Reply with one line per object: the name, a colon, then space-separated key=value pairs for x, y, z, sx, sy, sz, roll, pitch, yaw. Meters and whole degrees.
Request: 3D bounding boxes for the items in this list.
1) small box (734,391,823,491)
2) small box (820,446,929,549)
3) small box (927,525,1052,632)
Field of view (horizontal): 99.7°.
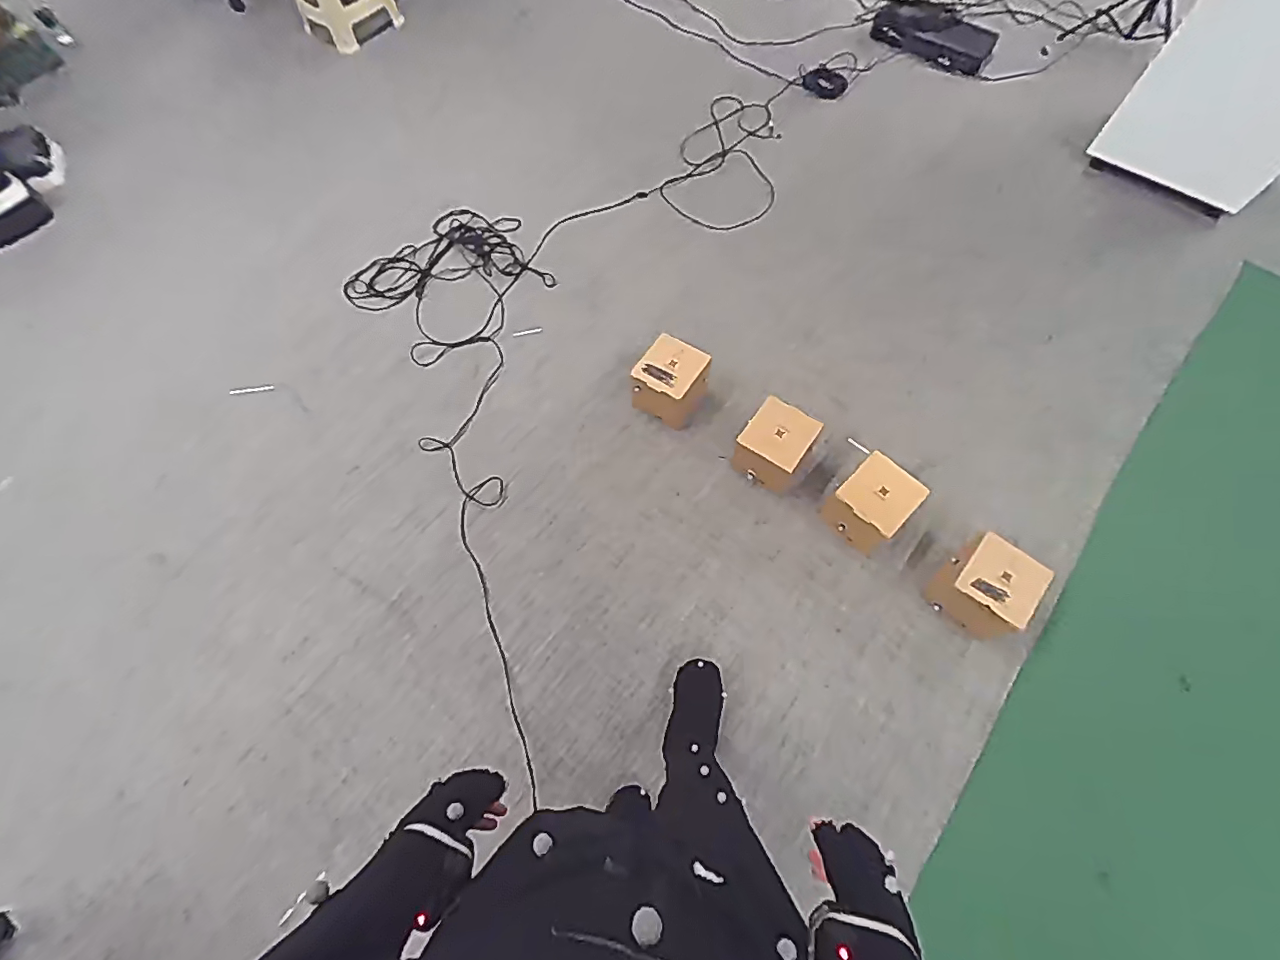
small box: x=0.370 y=-0.102 z=1.480 sx=0.168 sy=0.176 sz=0.179 roll=33 pitch=73 yaw=17
small box: x=0.599 y=0.051 z=1.406 sx=0.179 sy=0.176 sz=0.168 roll=-43 pitch=72 yaw=-15
small box: x=0.834 y=0.246 z=1.313 sx=0.168 sy=0.176 sz=0.179 roll=38 pitch=72 yaw=16
